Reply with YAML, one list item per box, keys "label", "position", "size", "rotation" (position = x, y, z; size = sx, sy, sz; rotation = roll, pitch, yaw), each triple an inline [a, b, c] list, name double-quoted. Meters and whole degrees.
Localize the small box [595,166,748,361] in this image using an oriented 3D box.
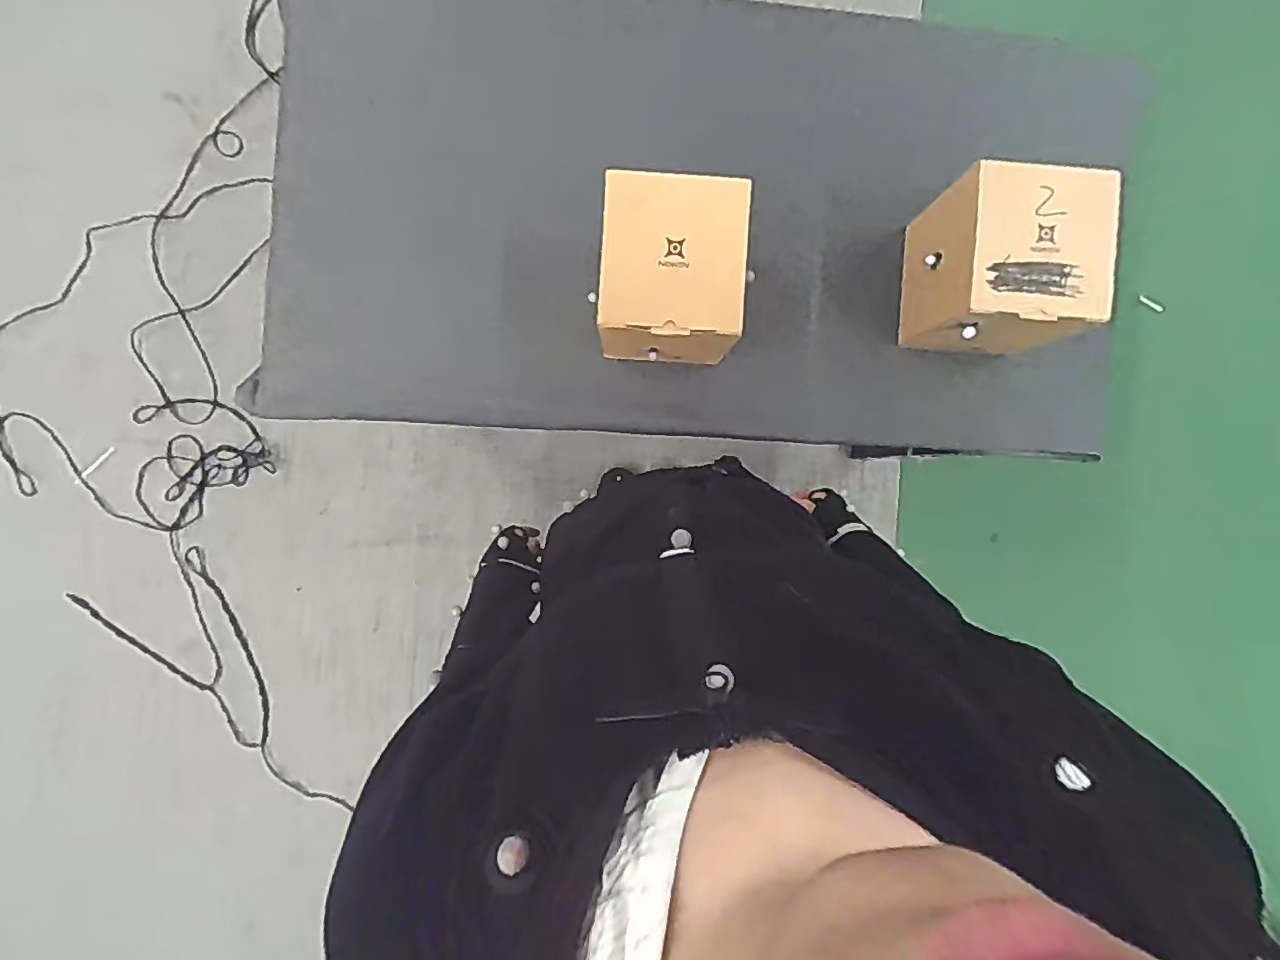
- label: "small box"
  position: [0.031, -0.258, 0.682]
  size: [0.168, 0.176, 0.179]
  rotation: [3, 92, -3]
